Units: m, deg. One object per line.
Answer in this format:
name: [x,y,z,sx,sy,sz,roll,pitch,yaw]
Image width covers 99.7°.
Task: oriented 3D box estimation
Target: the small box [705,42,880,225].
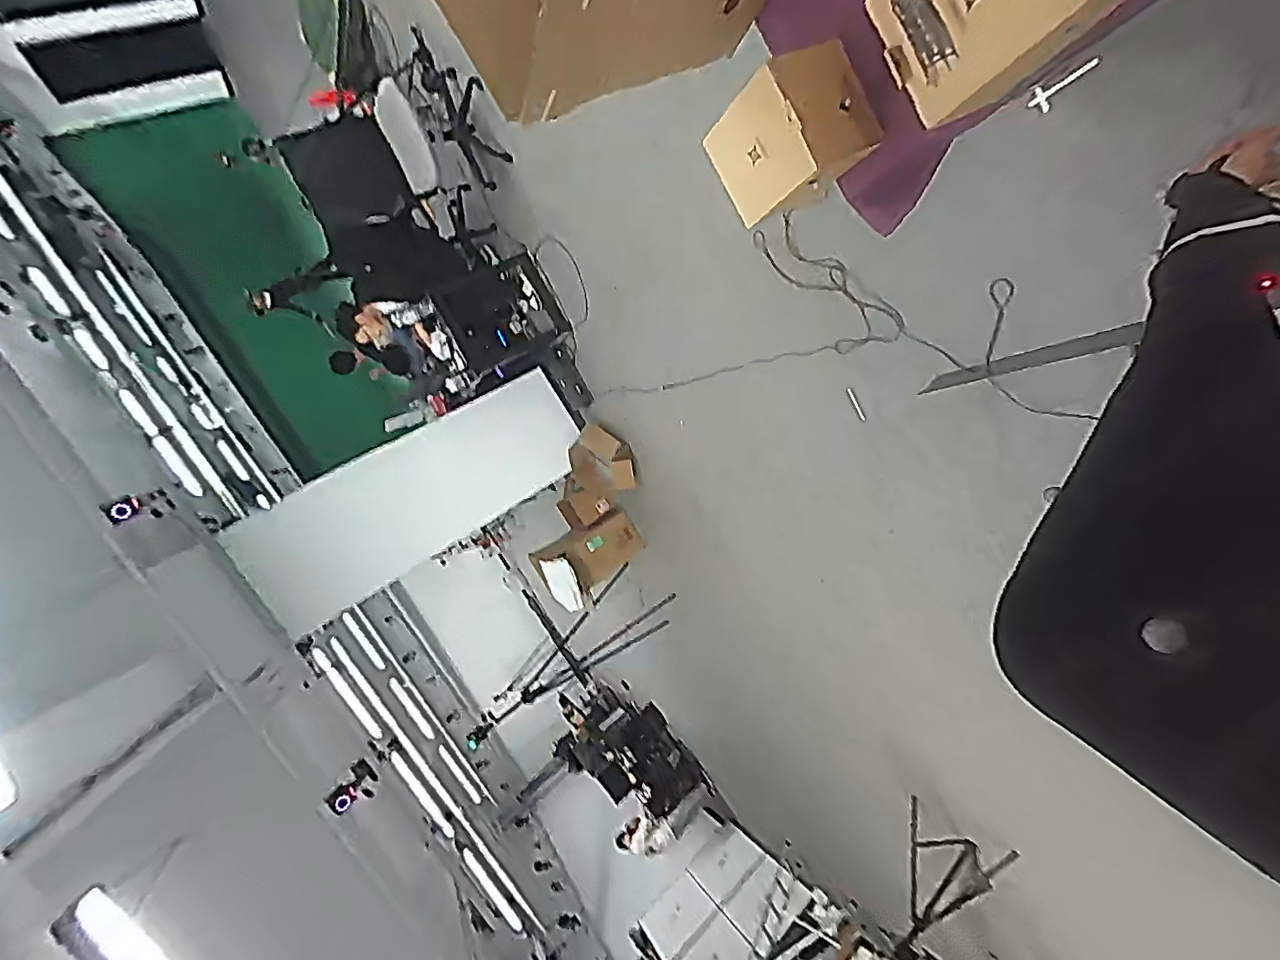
small box: [0.244,-0.553,0.874,0.168,0.176,0.179,60,155,-8]
